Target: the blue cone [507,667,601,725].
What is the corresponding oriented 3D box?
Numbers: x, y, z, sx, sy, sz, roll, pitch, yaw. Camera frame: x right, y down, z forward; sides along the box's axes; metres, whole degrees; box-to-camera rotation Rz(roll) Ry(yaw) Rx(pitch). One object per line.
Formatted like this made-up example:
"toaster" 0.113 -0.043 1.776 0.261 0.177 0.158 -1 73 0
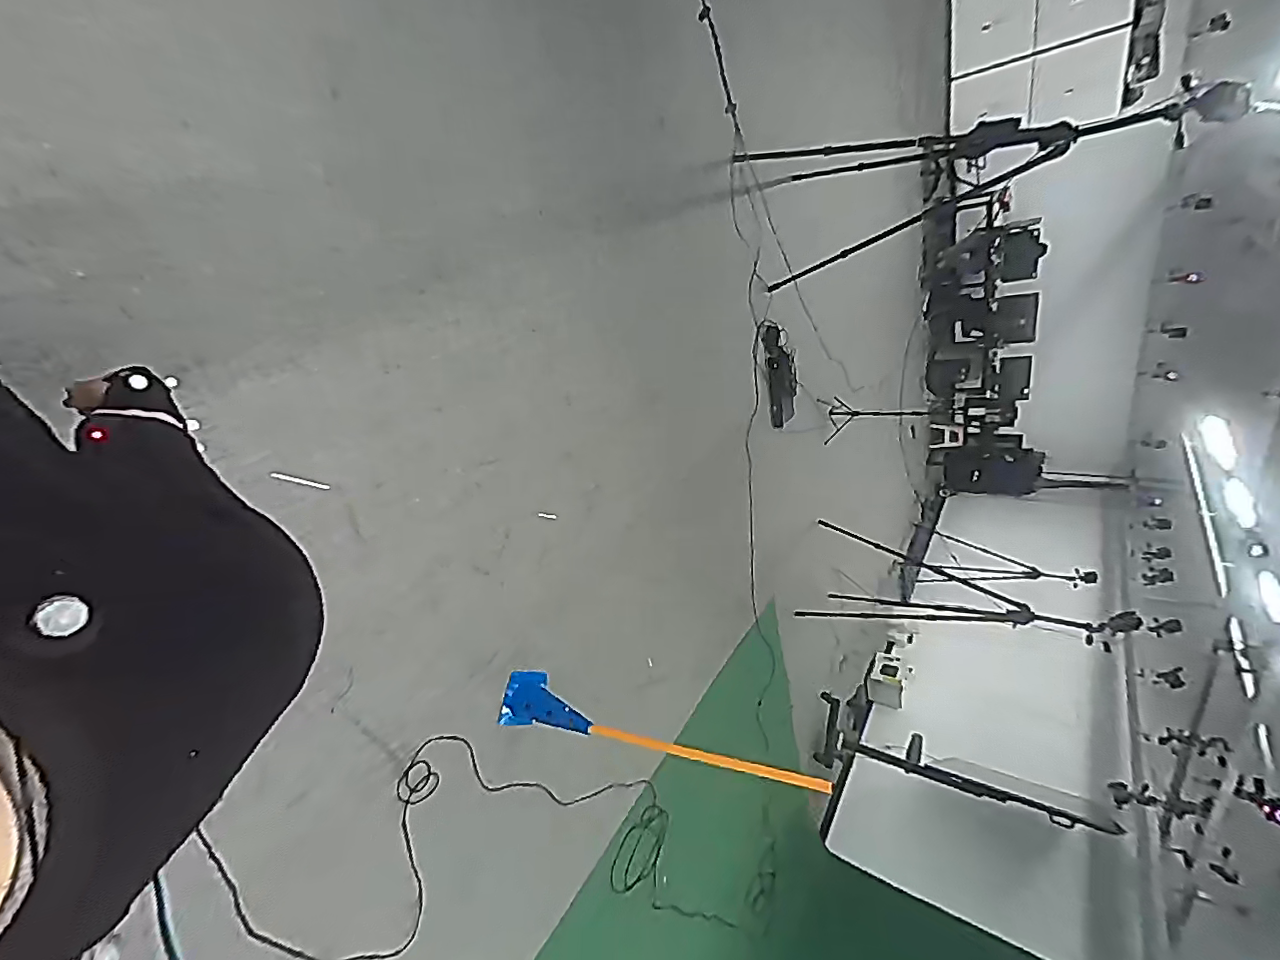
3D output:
"blue cone" -0.301 0.827 1.985 0.192 0.380 0.193 25 73 -50
